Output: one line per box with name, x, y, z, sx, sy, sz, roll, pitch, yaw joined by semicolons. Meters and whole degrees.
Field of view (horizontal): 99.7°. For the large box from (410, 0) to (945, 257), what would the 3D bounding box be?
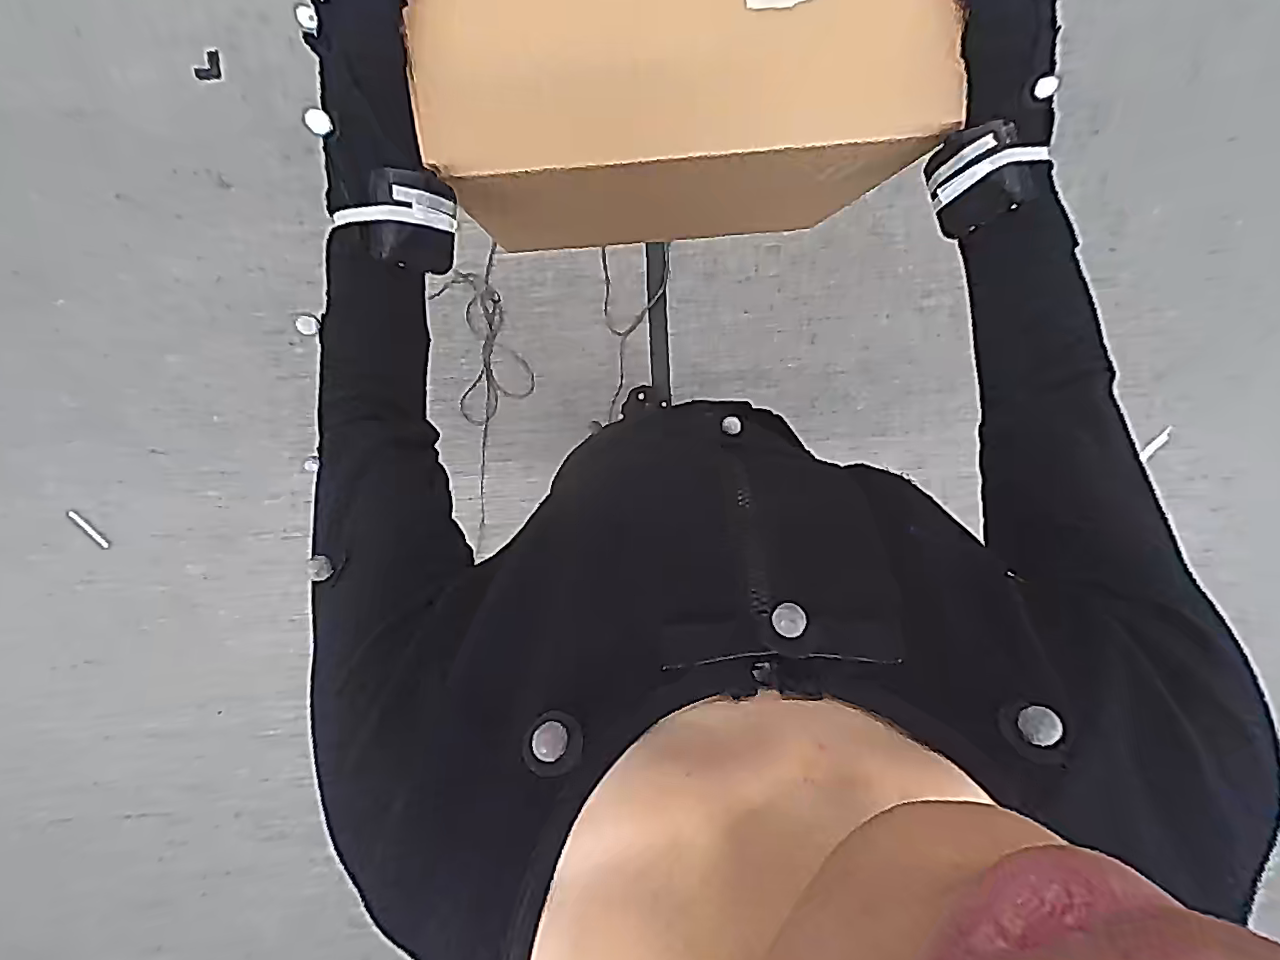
large box;0.017;-0.429;0.533;0.408;0.320;0.320;-6;104;-2
